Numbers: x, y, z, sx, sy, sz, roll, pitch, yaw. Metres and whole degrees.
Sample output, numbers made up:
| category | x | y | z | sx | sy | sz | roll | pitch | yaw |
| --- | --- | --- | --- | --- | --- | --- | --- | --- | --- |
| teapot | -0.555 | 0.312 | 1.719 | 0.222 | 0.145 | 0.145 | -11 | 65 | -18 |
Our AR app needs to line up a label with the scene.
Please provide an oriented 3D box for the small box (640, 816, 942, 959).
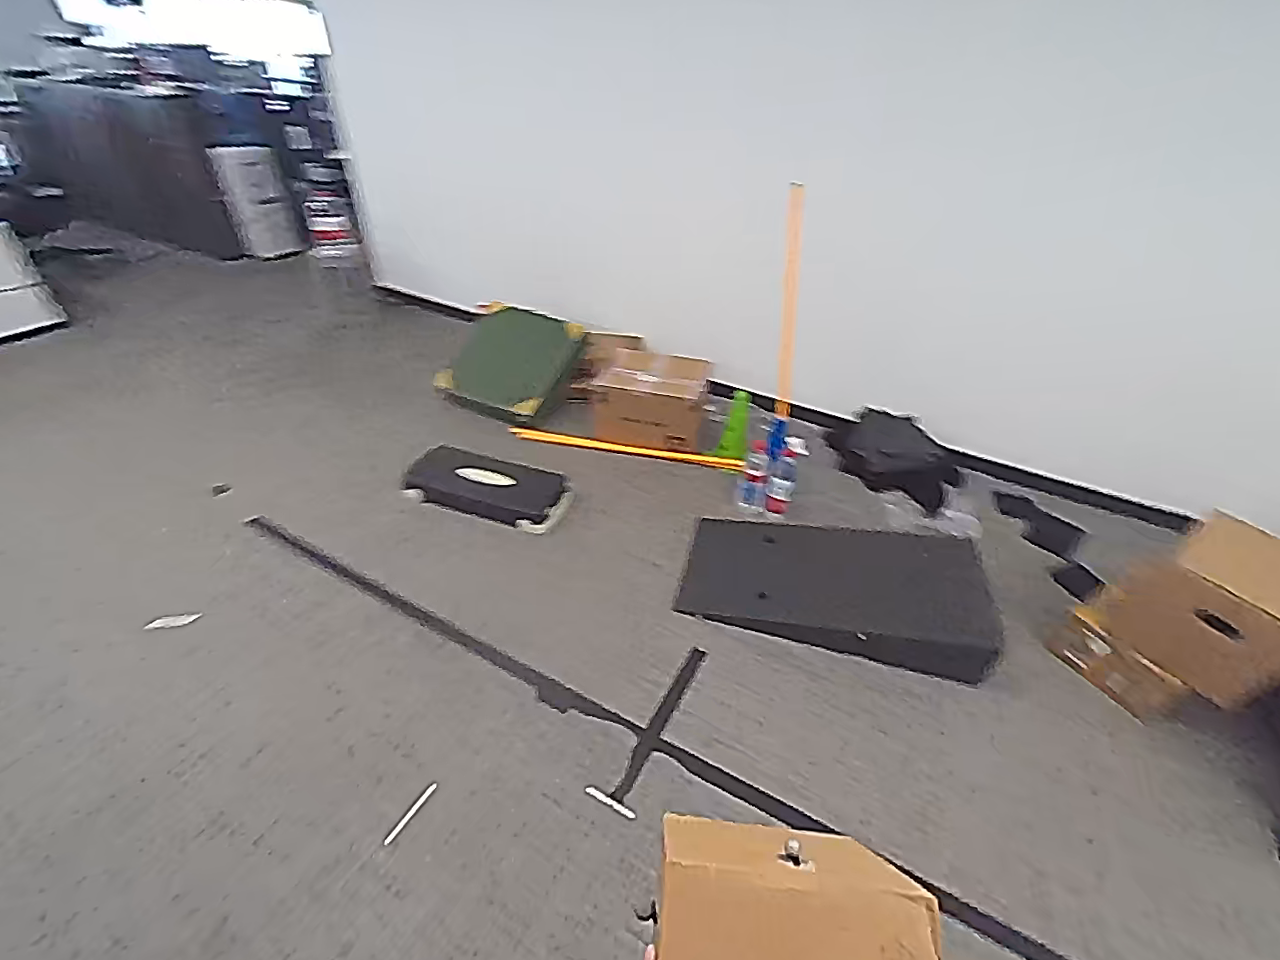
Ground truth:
| category | x | y | z | sx | sy | sz | roll | pitch | yaw |
| --- | --- | --- | --- | --- | --- | --- | --- | --- | --- |
| small box | 0.089 | 0.353 | 0.381 | 0.179 | 0.176 | 0.168 | 5 | 67 | 3 |
